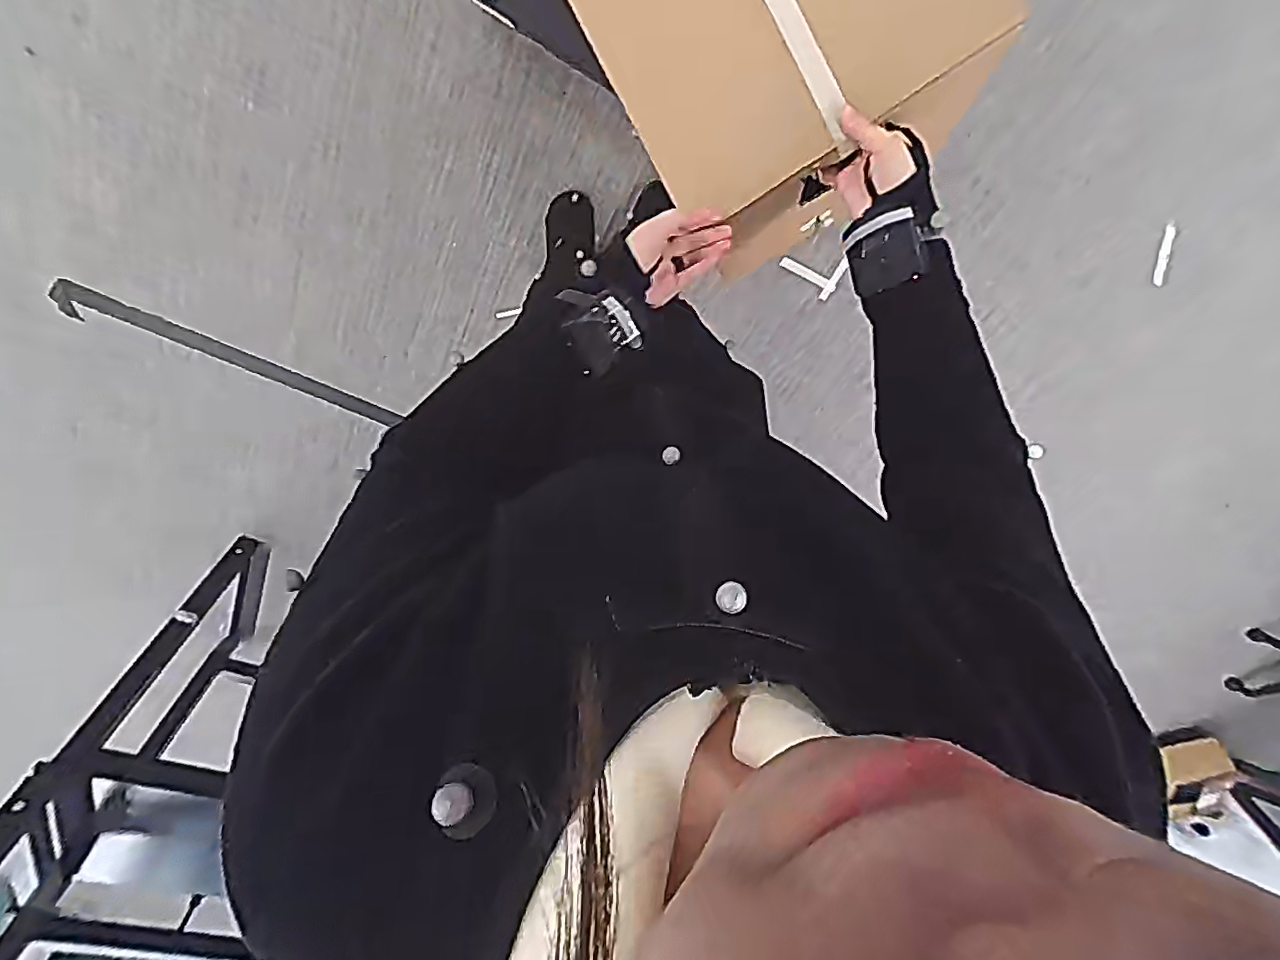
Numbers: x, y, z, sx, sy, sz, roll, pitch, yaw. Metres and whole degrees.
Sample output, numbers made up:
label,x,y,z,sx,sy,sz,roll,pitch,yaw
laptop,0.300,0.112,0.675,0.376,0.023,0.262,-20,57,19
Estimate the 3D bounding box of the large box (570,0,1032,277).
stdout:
label,x,y,z,sx,sy,sz,roll,pitch,yaw
large box,0.137,-0.507,0.612,0.320,0.320,0.408,-28,93,20
